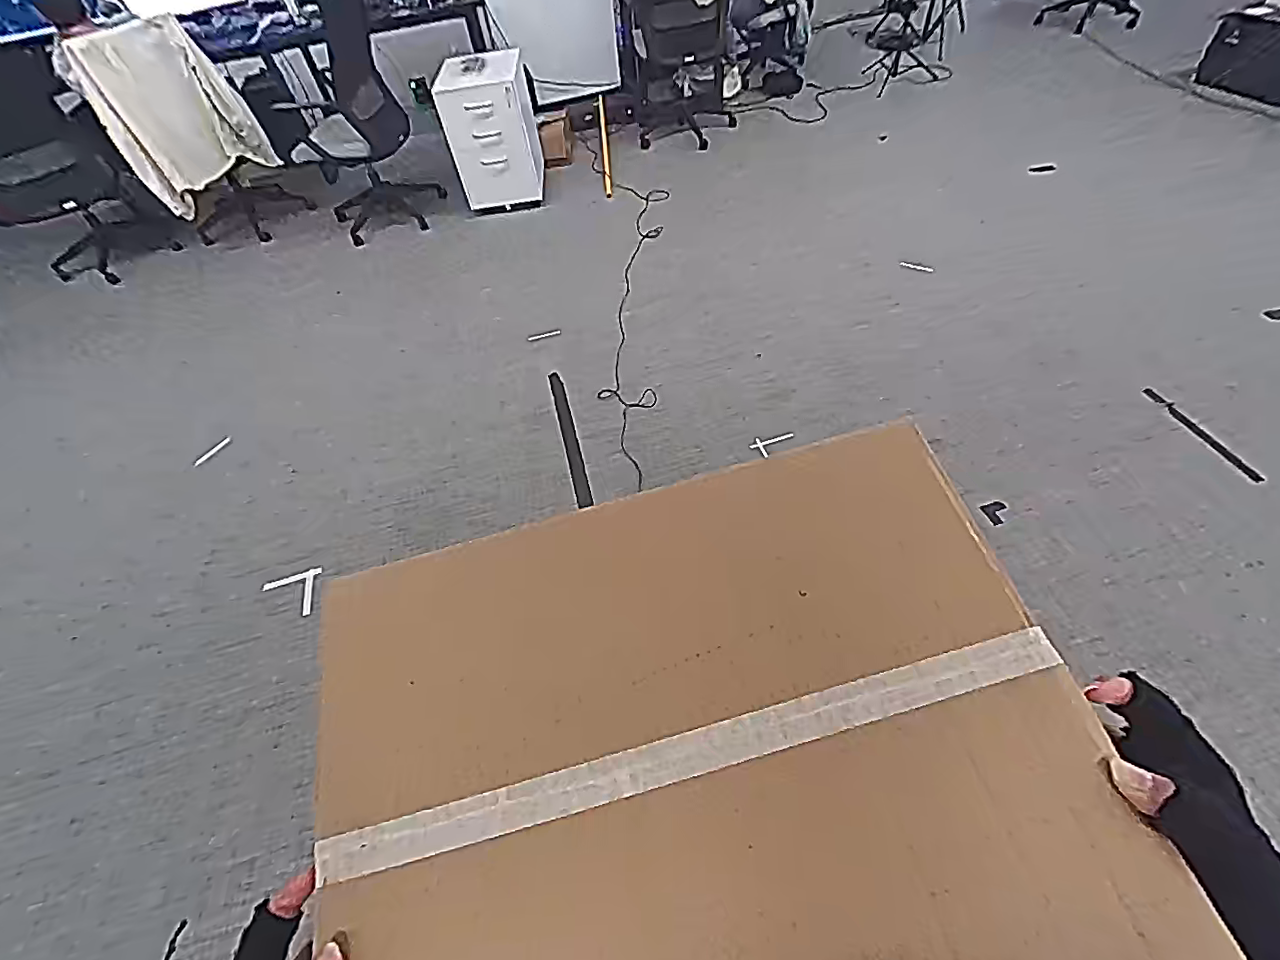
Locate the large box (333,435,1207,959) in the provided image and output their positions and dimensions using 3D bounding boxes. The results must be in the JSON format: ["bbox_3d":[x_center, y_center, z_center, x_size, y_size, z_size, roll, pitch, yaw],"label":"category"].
[{"bbox_3d":[0.043,0.219,0.431,0.408,0.320,0.320,-16,61,-1],"label":"large box"}]
